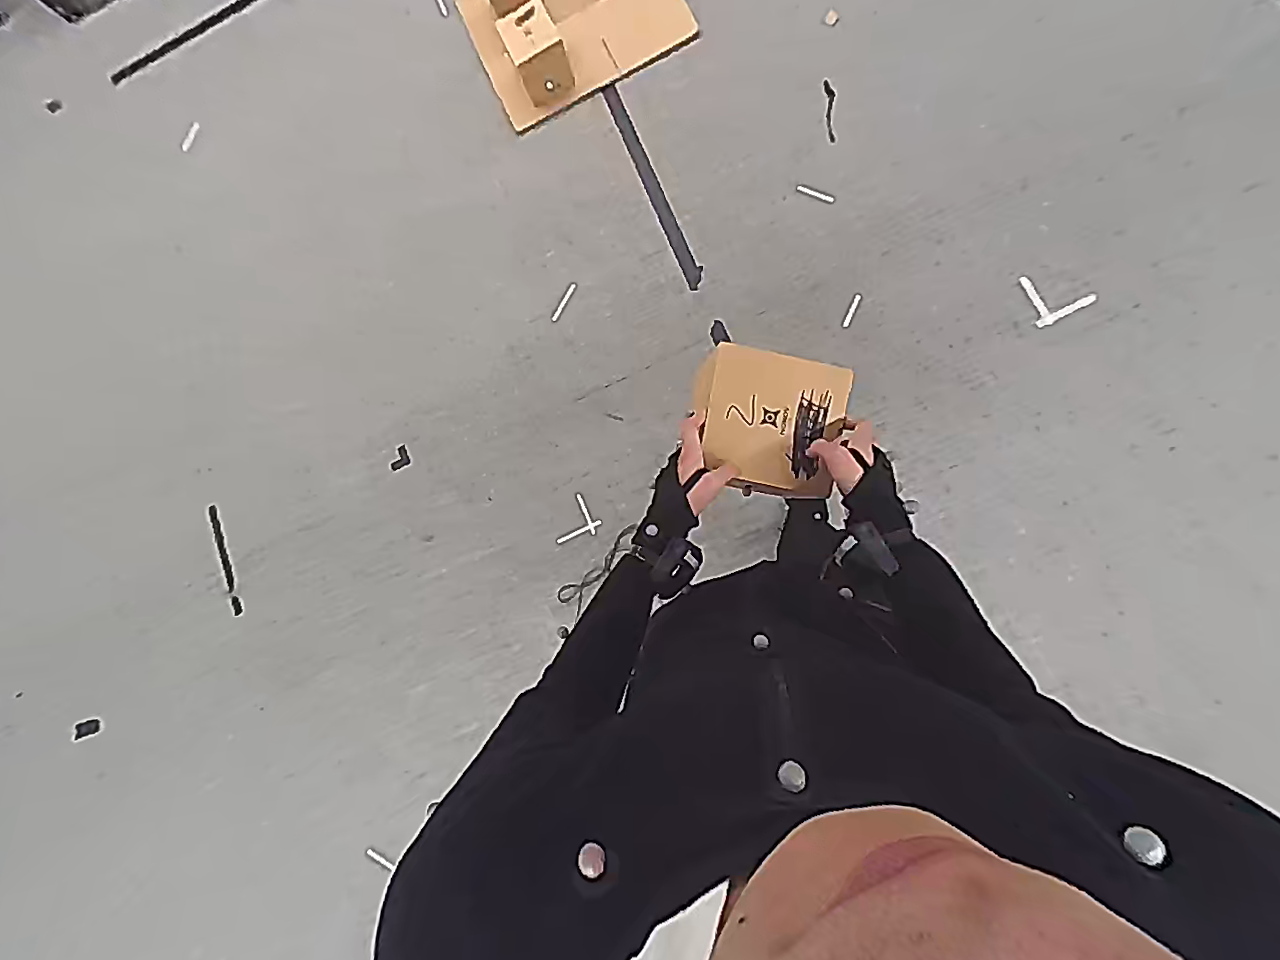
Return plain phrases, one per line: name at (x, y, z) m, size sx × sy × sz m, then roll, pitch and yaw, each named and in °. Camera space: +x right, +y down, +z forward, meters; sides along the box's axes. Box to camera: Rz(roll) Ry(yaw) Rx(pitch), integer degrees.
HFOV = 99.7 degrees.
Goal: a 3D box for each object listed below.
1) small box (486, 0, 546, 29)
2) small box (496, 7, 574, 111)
small box at (-0.439, -1.641, 1.820) m, size 0.168 × 0.176 × 0.179 m, roll -26°, pitch 81°, yaw 6°
small box at (-0.339, -1.377, 1.778) m, size 0.168 × 0.176 × 0.179 m, roll -27°, pitch 82°, yaw 6°
